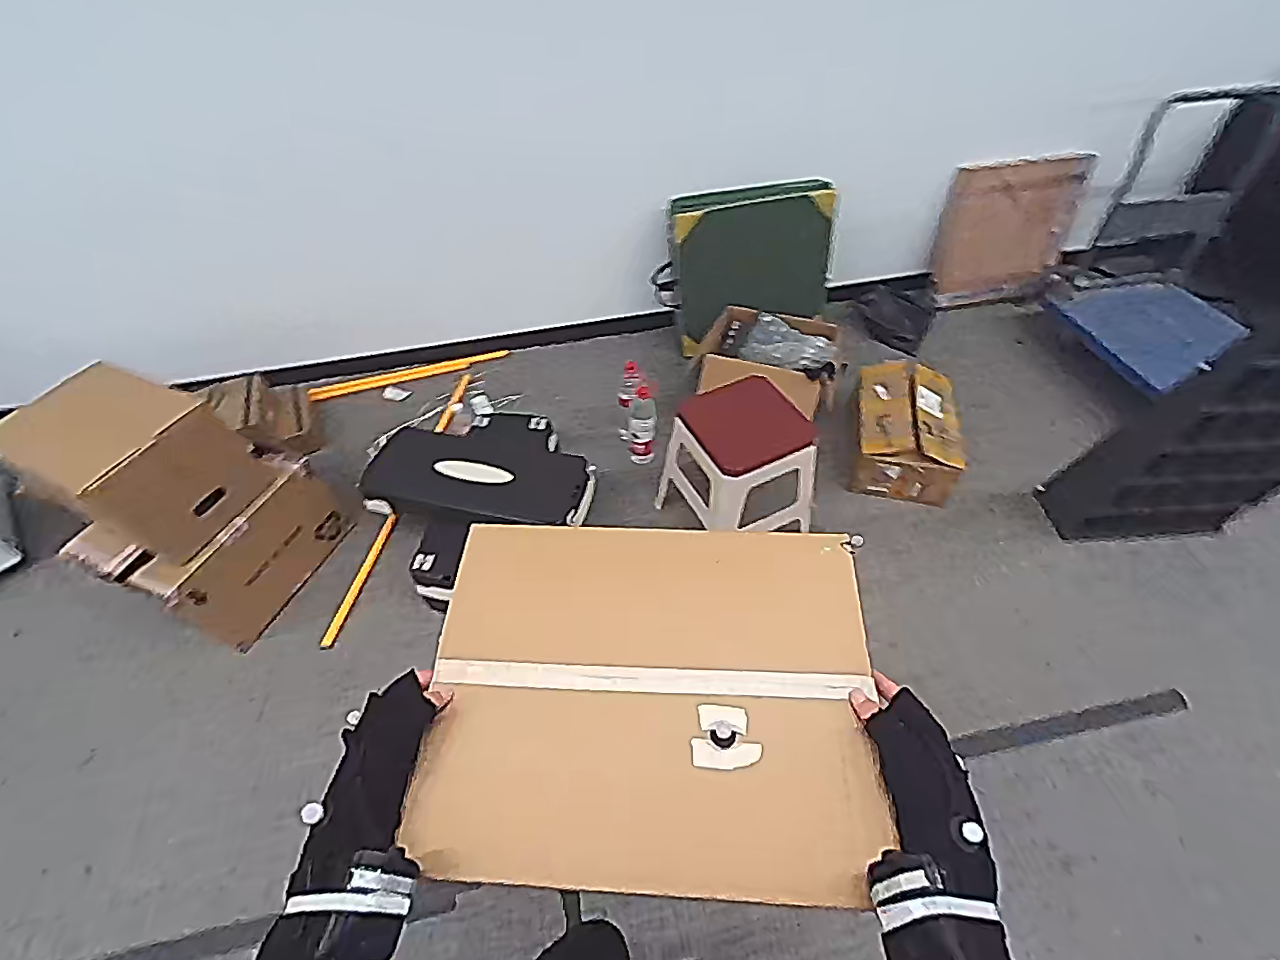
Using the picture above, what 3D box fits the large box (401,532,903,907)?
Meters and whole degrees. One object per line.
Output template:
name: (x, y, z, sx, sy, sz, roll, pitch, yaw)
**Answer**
large box: (0.017, 0.274, 0.626, 0.408, 0.320, 0.320, 2, 57, 4)
